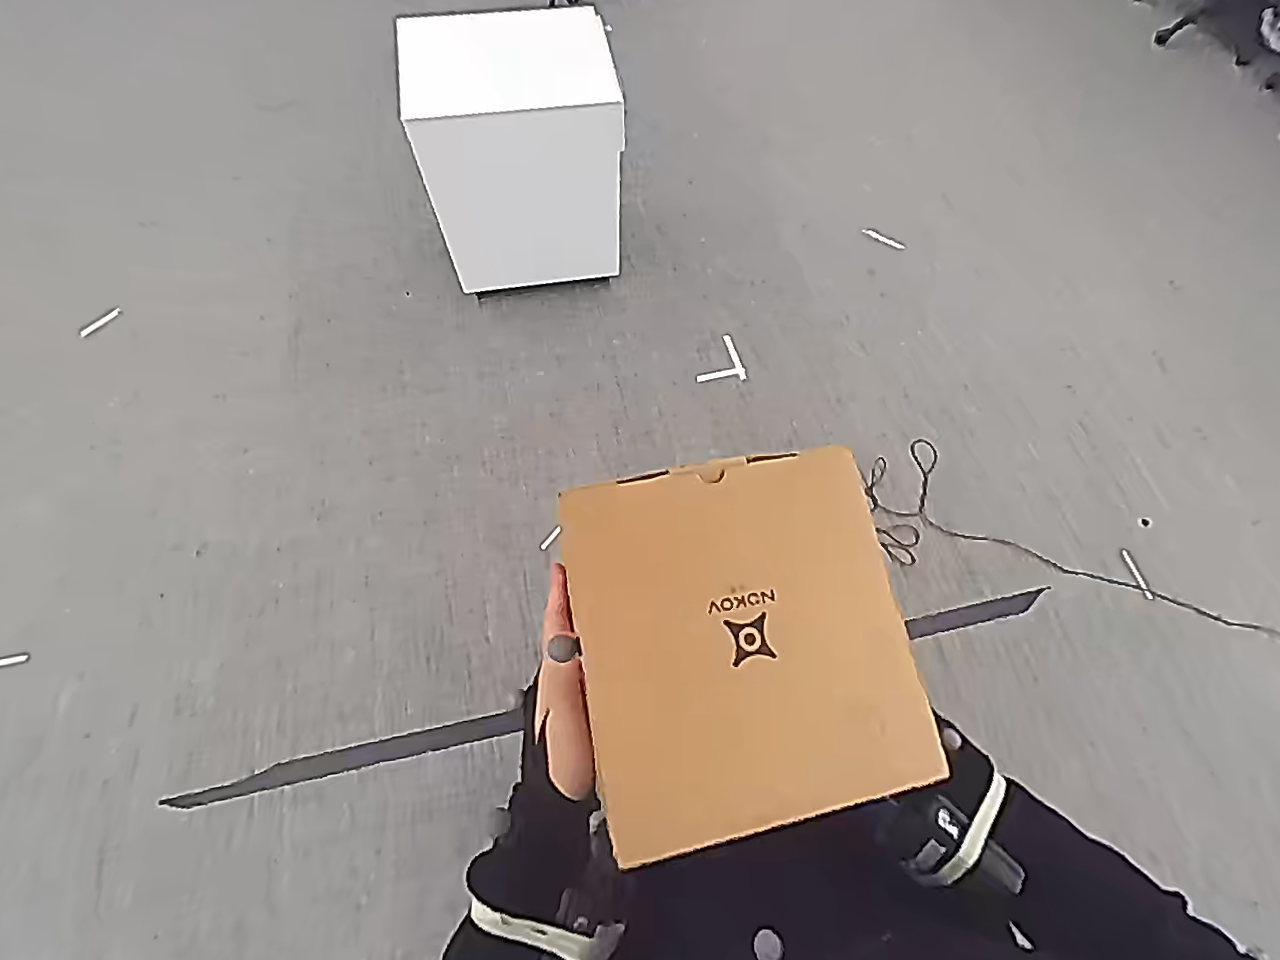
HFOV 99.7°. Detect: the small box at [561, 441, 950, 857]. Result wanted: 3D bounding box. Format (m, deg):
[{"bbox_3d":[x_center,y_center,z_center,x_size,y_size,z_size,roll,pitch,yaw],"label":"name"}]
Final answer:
[{"bbox_3d":[0.046,0.093,0.343,0.168,0.176,0.179,-9,74,-10],"label":"small box"}]
